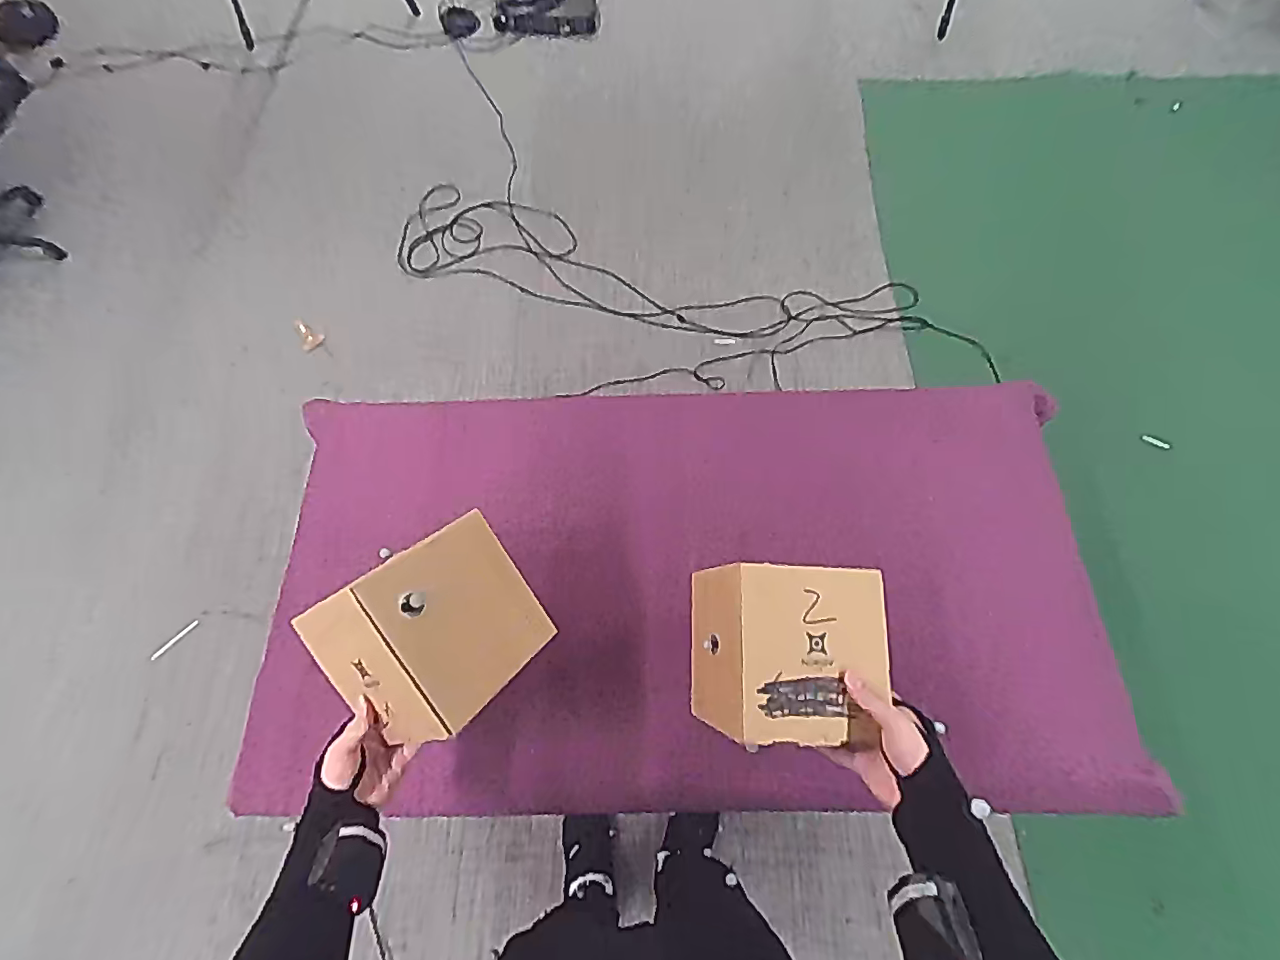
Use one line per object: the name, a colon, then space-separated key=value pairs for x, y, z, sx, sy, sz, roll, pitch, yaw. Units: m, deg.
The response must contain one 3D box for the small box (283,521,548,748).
small box: x=-0.240 y=0.163 z=0.599 sx=0.179 sy=0.168 sz=0.176 roll=60 pitch=38 yaw=-7
